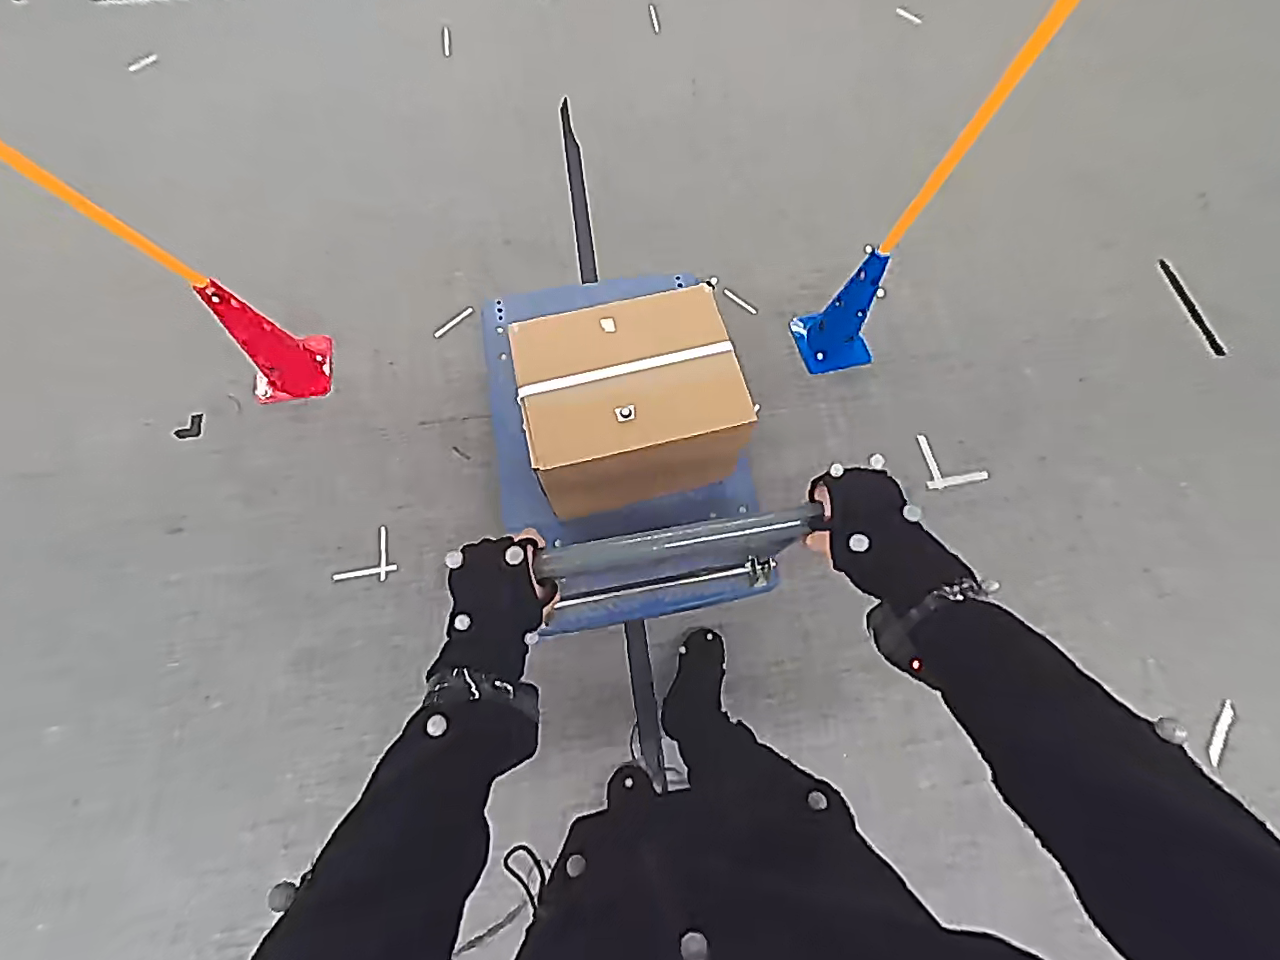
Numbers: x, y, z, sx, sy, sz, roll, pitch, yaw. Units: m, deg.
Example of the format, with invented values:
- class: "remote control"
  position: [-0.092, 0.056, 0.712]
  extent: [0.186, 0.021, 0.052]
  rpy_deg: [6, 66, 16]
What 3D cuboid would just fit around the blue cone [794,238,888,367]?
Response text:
- class: "blue cone"
  position: [0.569, -0.480, 1.443]
  extent: [0.193, 0.380, 0.192]
  rpy_deg: [-11, 69, -6]
